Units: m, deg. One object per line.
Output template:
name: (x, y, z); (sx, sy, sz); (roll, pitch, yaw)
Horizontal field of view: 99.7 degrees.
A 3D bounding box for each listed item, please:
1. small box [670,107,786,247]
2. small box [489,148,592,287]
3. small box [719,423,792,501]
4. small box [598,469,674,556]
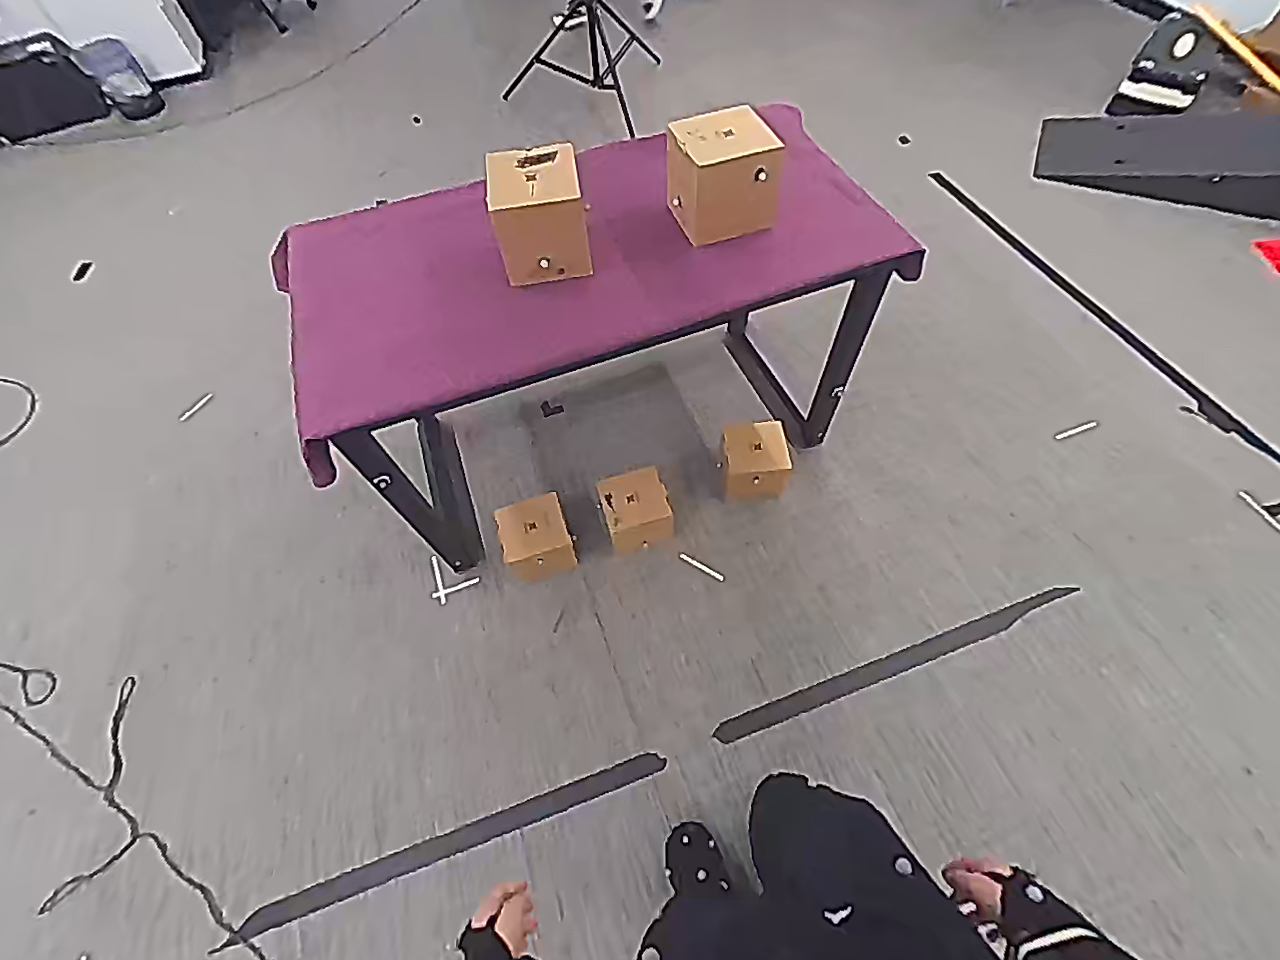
small box: (0.166, -0.602, 1.084); (0.179, 0.176, 0.168); (-18, 60, -6)
small box: (-0.190, -0.505, 1.051); (0.168, 0.176, 0.179); (-9, 60, -2)
small box: (0.335, -0.050, 1.600); (0.179, 0.176, 0.168); (-5, 60, 2)
small box: (-0.011, 0.095, 1.536); (0.179, 0.176, 0.168); (-15, 61, -6)
